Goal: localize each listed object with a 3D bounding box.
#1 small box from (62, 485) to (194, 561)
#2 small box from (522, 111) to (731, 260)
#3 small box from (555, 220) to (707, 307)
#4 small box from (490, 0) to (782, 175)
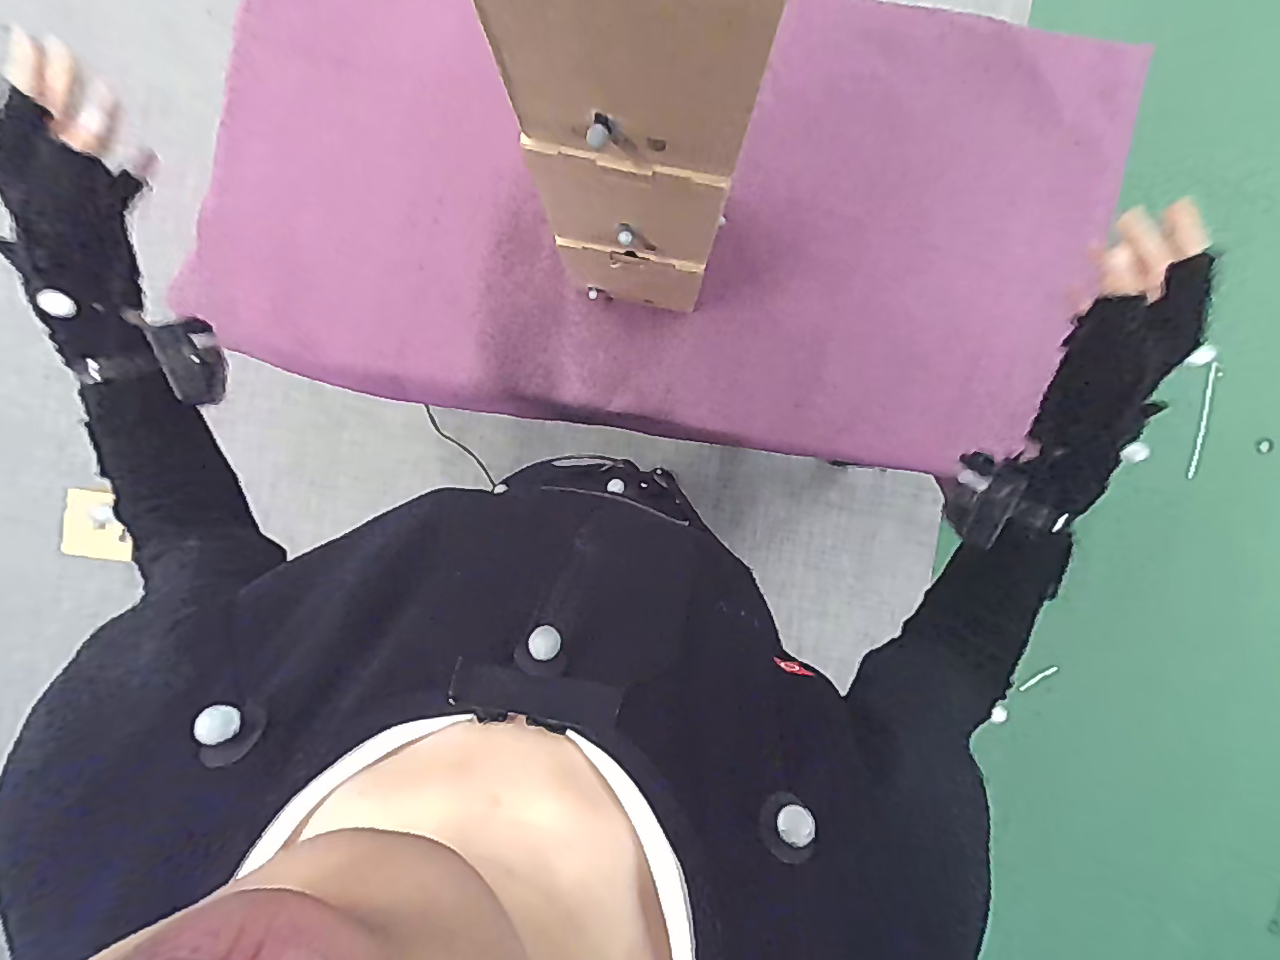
[{"bbox_3d":[-1.328,0.106,1.412,0.179,0.176,0.168,8,92,1],"label":"small box"},{"bbox_3d":[0.004,-0.332,0.496,0.168,0.176,0.179,12,92,0],"label":"small box"},{"bbox_3d":[0.006,-0.329,0.661,0.168,0.176,0.179,12,91,0],"label":"small box"},{"bbox_3d":[0.005,-0.331,0.334,0.168,0.176,0.179,11,92,1],"label":"small box"}]
